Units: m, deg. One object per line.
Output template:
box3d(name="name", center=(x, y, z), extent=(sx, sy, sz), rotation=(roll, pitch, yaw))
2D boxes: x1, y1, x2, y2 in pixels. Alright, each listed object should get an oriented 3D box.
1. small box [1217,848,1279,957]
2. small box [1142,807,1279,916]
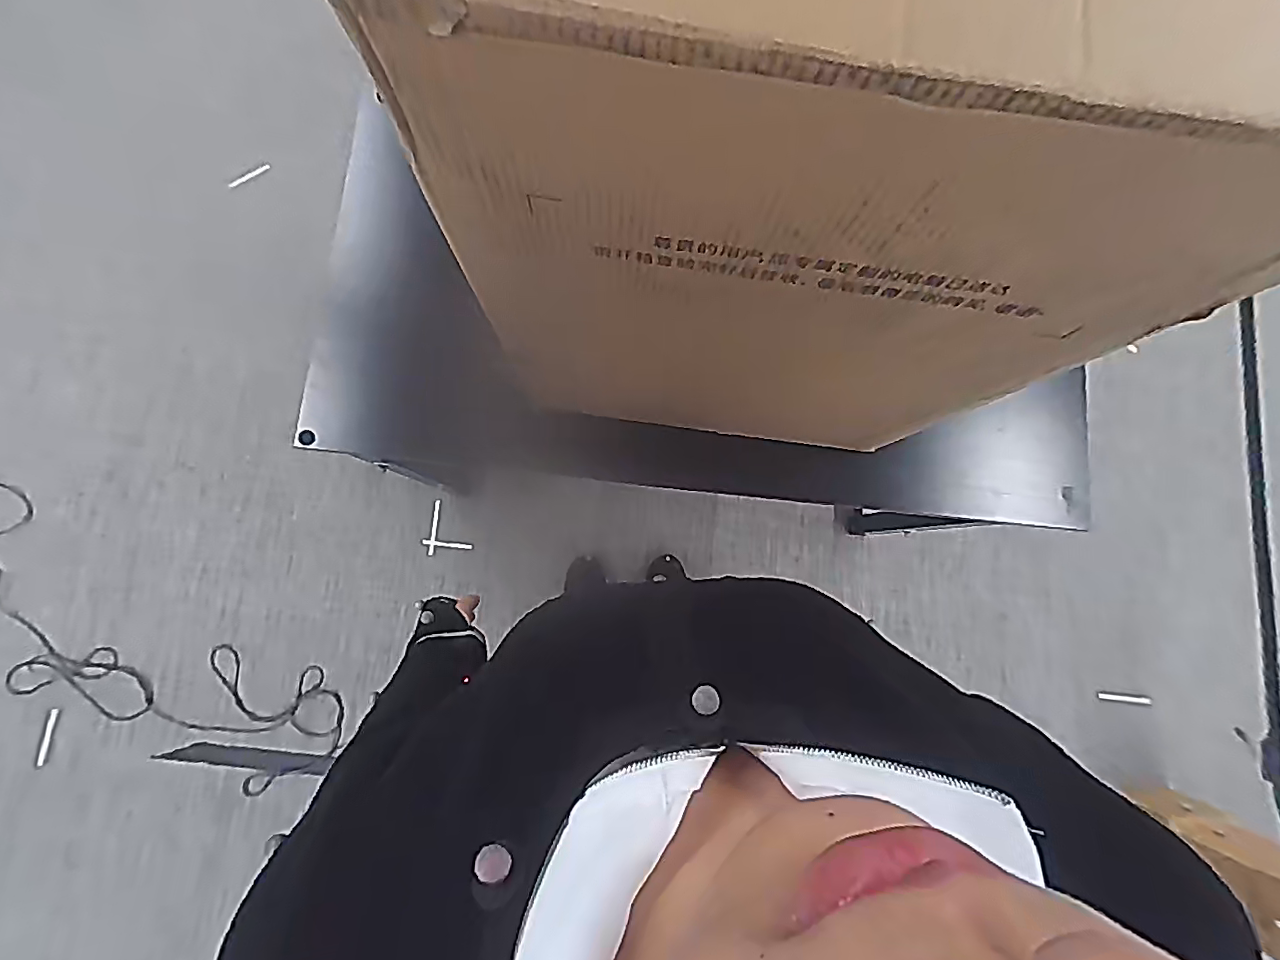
box3d(name="small box", center=(1.419, 0.931, 1.174), extent=(0.179, 0.176, 0.168), rotation=(-1, 82, -3))
box3d(name="small box", center=(1.413, 0.935, 1.339), extent=(0.179, 0.176, 0.168), rotation=(0, 82, -2))
